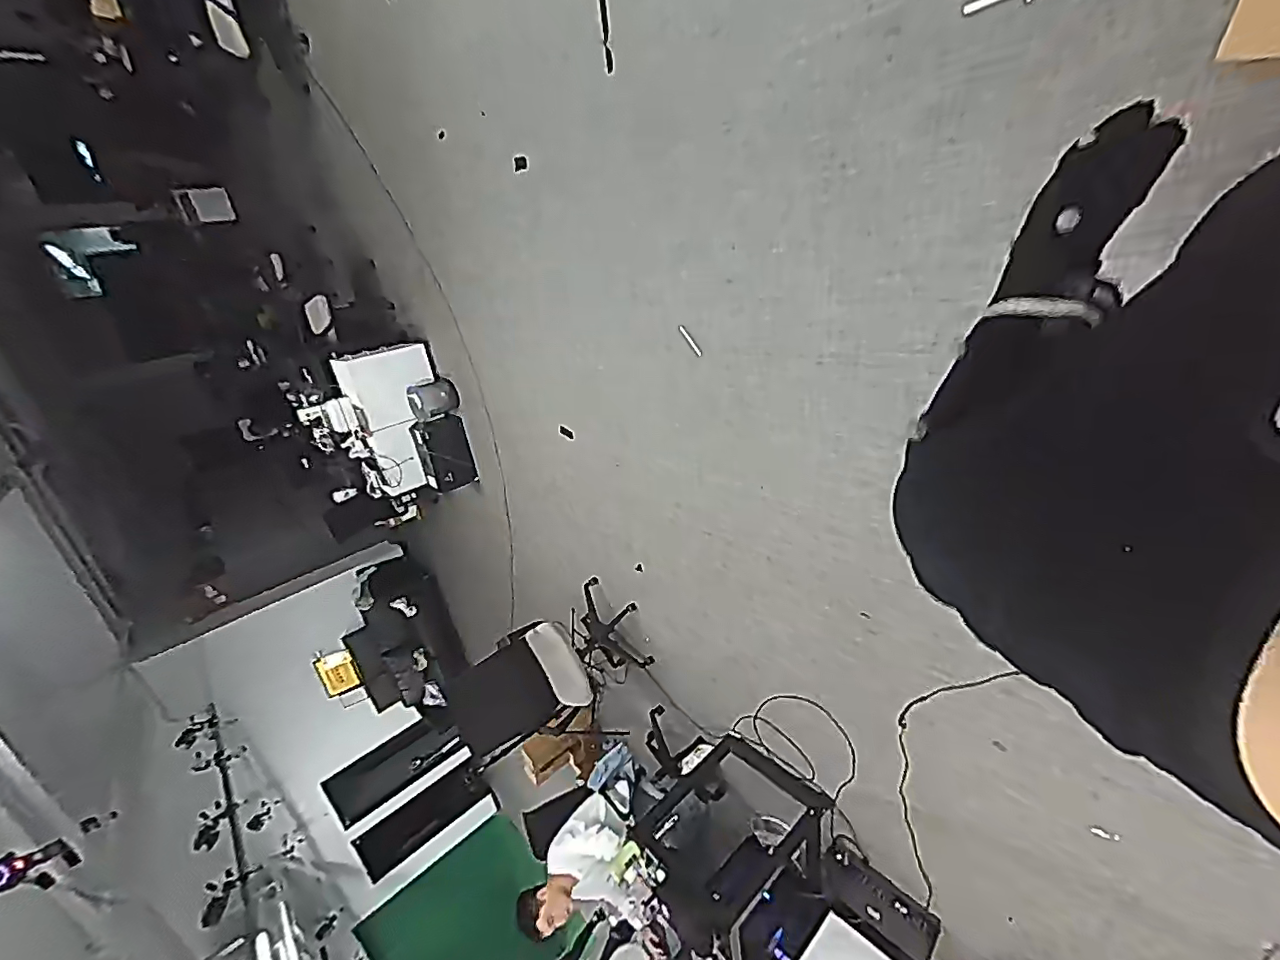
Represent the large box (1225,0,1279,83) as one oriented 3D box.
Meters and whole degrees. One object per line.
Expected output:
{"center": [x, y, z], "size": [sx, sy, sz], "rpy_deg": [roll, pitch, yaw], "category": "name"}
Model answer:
{"center": [1.021, -0.679, 0.612], "size": [0.408, 0.320, 0.320], "rpy_deg": [28, 130, 40], "category": "large box"}
